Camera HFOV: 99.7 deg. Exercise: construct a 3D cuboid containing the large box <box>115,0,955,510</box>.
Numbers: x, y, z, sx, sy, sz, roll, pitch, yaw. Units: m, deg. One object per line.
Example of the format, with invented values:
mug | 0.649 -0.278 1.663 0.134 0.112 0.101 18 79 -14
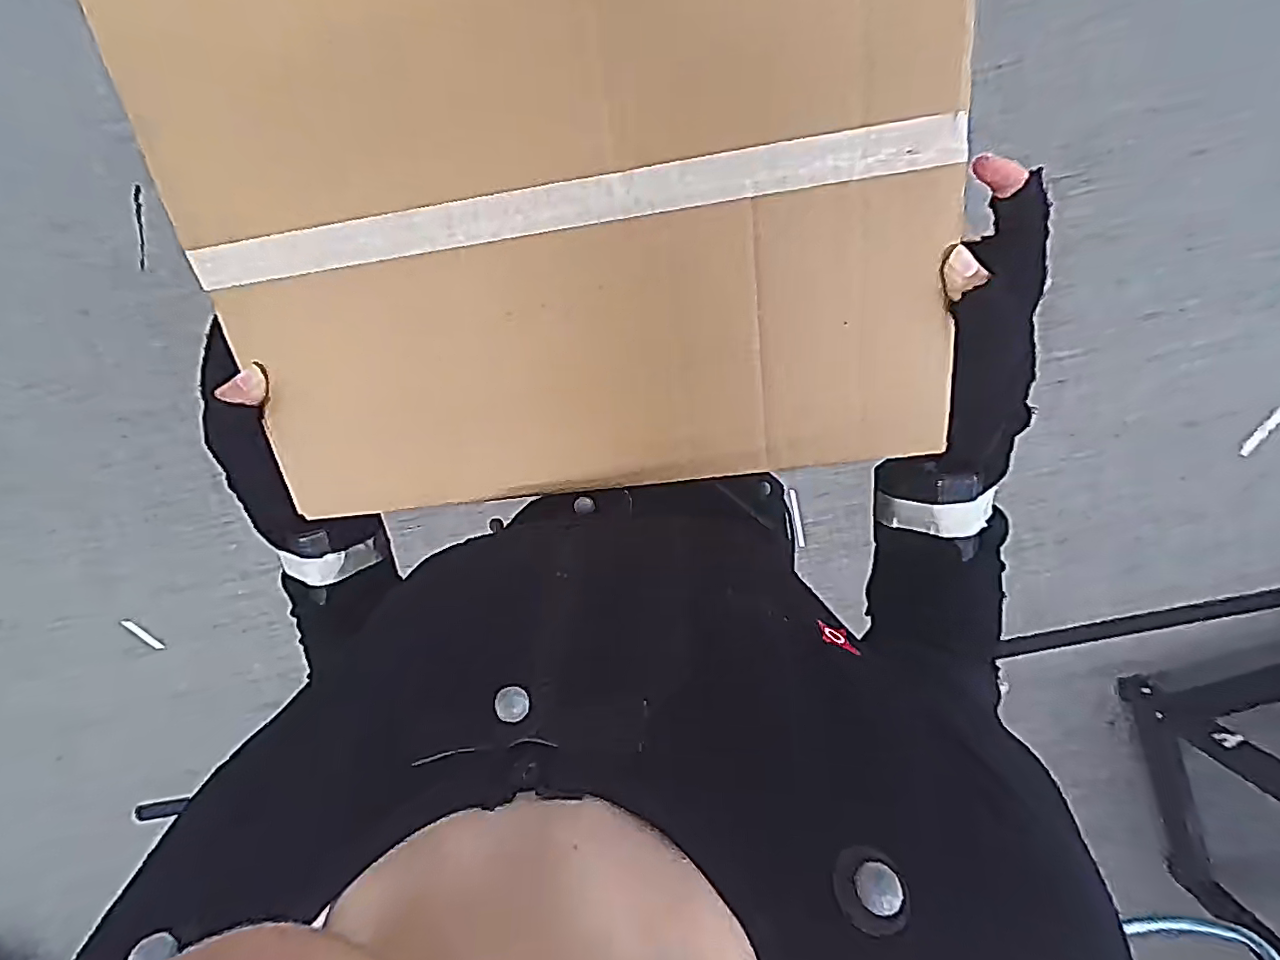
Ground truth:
large box | -0.037 -0.198 0.427 0.408 0.320 0.320 -6 112 7
